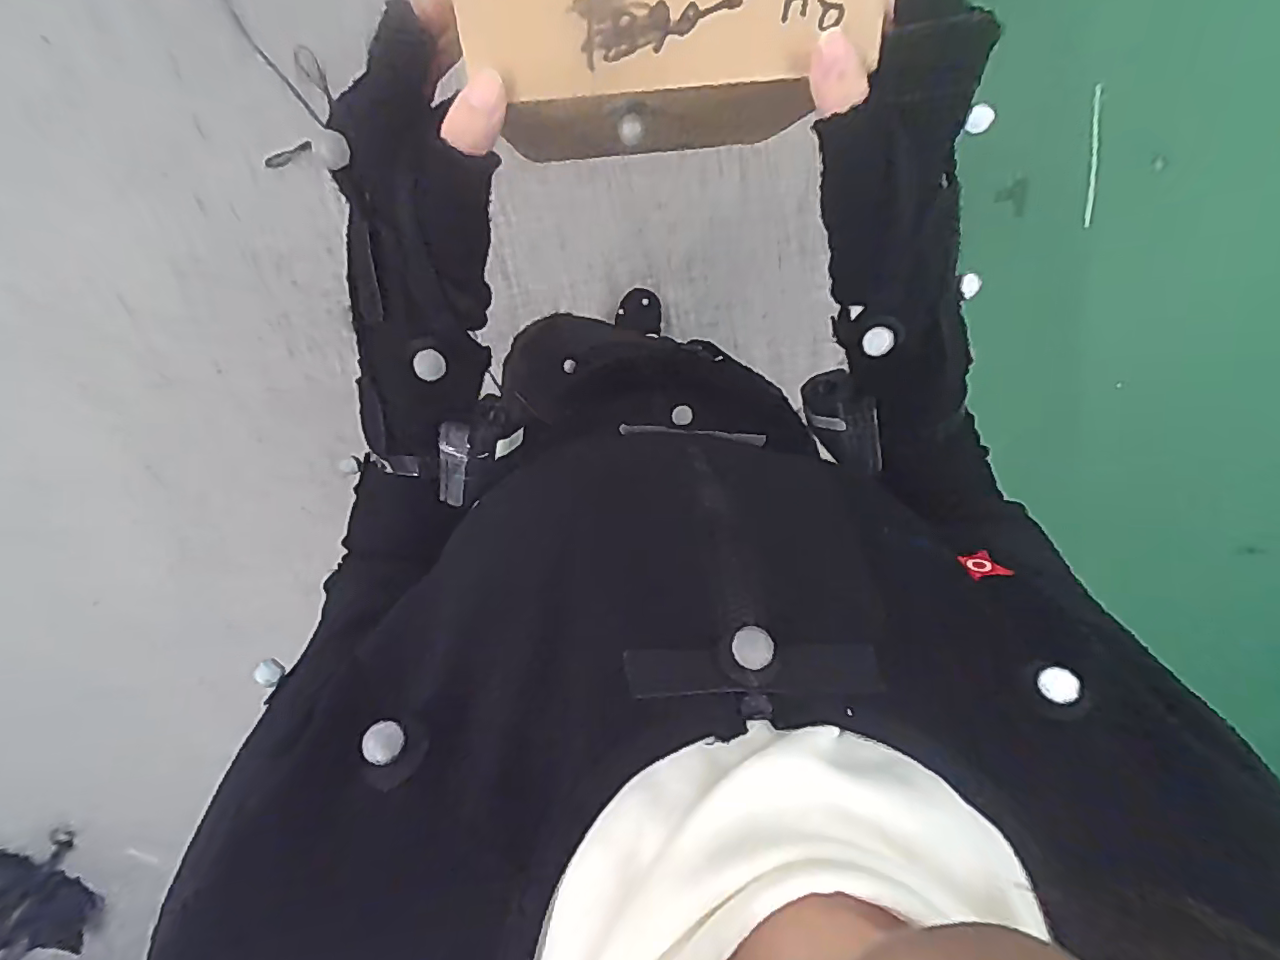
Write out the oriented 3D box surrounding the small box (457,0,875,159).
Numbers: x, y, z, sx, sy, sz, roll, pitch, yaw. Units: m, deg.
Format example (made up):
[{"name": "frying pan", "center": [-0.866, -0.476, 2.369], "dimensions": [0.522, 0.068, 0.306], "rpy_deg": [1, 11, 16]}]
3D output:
[{"name": "small box", "center": [0.002, -0.274, 0.260], "dimensions": [0.168, 0.176, 0.179], "rpy_deg": [-5, 113, -1]}]
